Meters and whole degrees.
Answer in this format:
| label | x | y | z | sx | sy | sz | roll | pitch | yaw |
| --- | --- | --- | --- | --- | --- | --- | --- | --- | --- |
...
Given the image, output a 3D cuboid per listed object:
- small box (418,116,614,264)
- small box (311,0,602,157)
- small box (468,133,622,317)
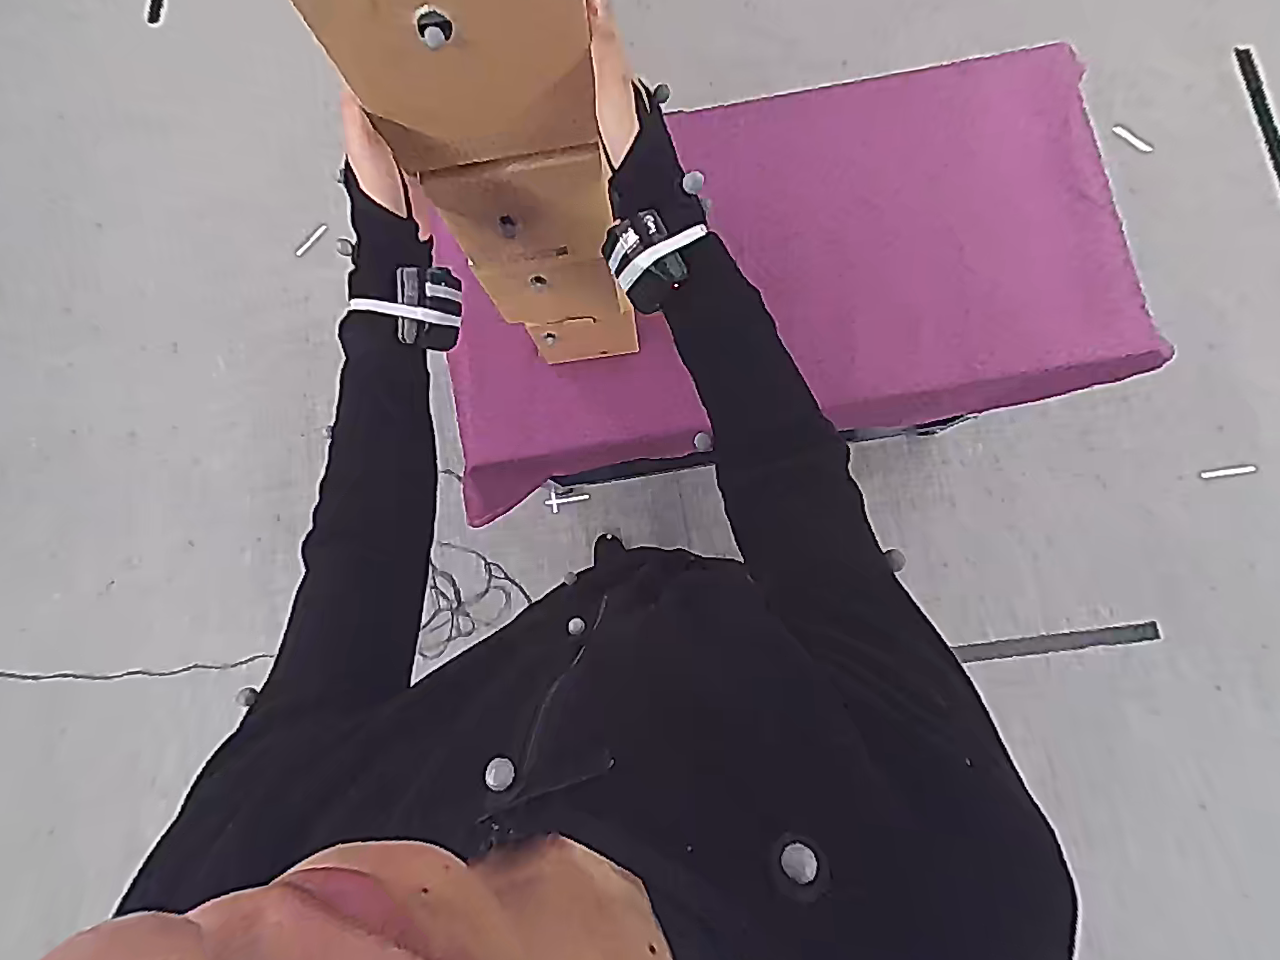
| label | x | y | z | sx | sy | sz | roll | pitch | yaw |
| --- | --- | --- | --- | --- | --- | --- | --- | --- | --- |
| small box | -0.124 | -0.351 | 0.576 | 0.168 | 0.176 | 0.179 | -8 | 81 | 1 |
| small box | -0.131 | -0.372 | 0.396 | 0.179 | 0.176 | 0.168 | -9 | 84 | 0 |
| small box | -0.118 | -0.334 | 0.738 | 0.179 | 0.176 | 0.168 | -1 | 83 | 2 |
